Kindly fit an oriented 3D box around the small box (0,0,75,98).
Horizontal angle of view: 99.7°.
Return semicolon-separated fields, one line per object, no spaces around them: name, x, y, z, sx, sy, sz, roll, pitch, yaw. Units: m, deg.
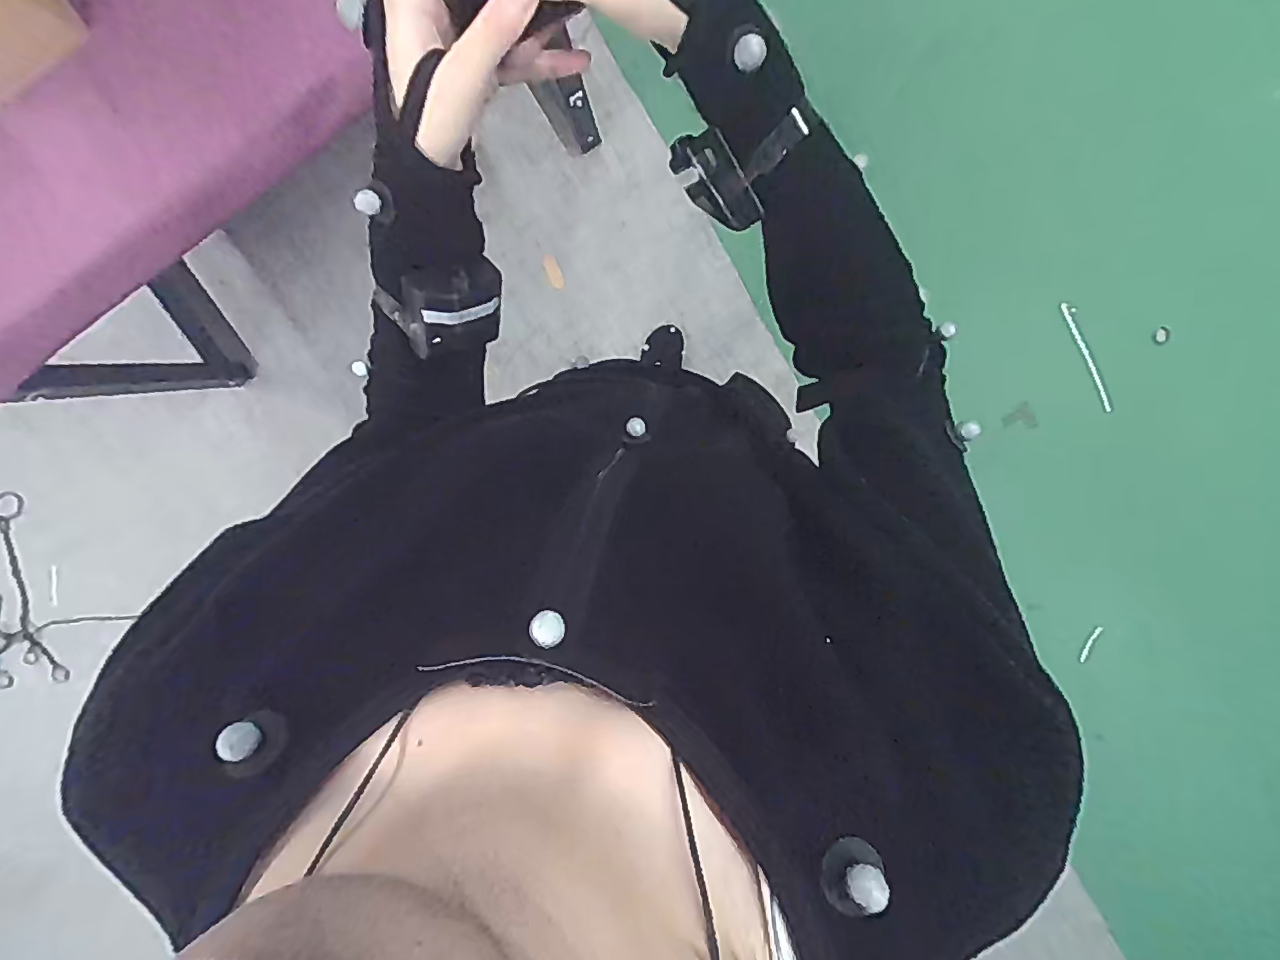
small box;-0.796;-0.574;0.591;0.179;0.176;0.168;-28;100;8
